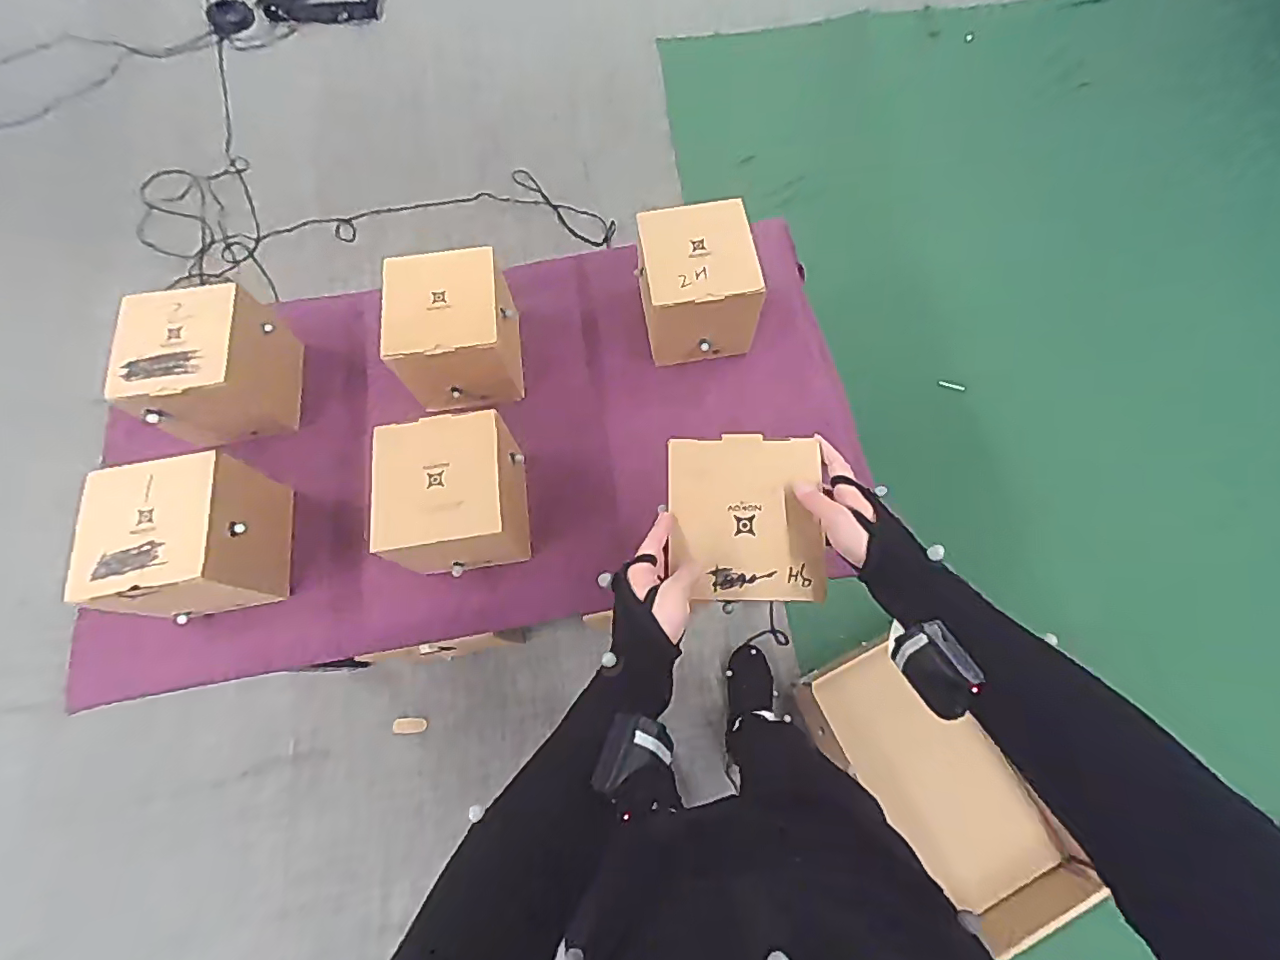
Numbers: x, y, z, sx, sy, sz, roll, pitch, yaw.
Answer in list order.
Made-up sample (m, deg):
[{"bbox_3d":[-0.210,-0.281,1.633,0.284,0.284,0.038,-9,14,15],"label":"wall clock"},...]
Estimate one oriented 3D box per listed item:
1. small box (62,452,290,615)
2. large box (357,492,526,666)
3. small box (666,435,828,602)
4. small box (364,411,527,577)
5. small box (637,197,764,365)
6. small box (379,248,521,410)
[{"bbox_3d":[-0.618,0.084,0.747,0.168,0.176,0.179,-10,69,-2],"label":"small box"},{"bbox_3d":[-0.497,0.242,1.392,0.320,0.320,0.408,-9,69,-2],"label":"large box"},{"bbox_3d":[0.115,0.054,0.643,0.168,0.176,0.179,-1,79,5],"label":"small box"},{"bbox_3d":[-0.260,0.026,0.759,0.168,0.176,0.179,-8,70,0],"label":"small box"},{"bbox_3d":[0.088,-0.310,0.864,0.168,0.176,0.179,-9,71,1],"label":"small box"},{"bbox_3d":[-0.290,-0.231,0.852,0.168,0.176,0.179,-7,72,-1],"label":"small box"}]
